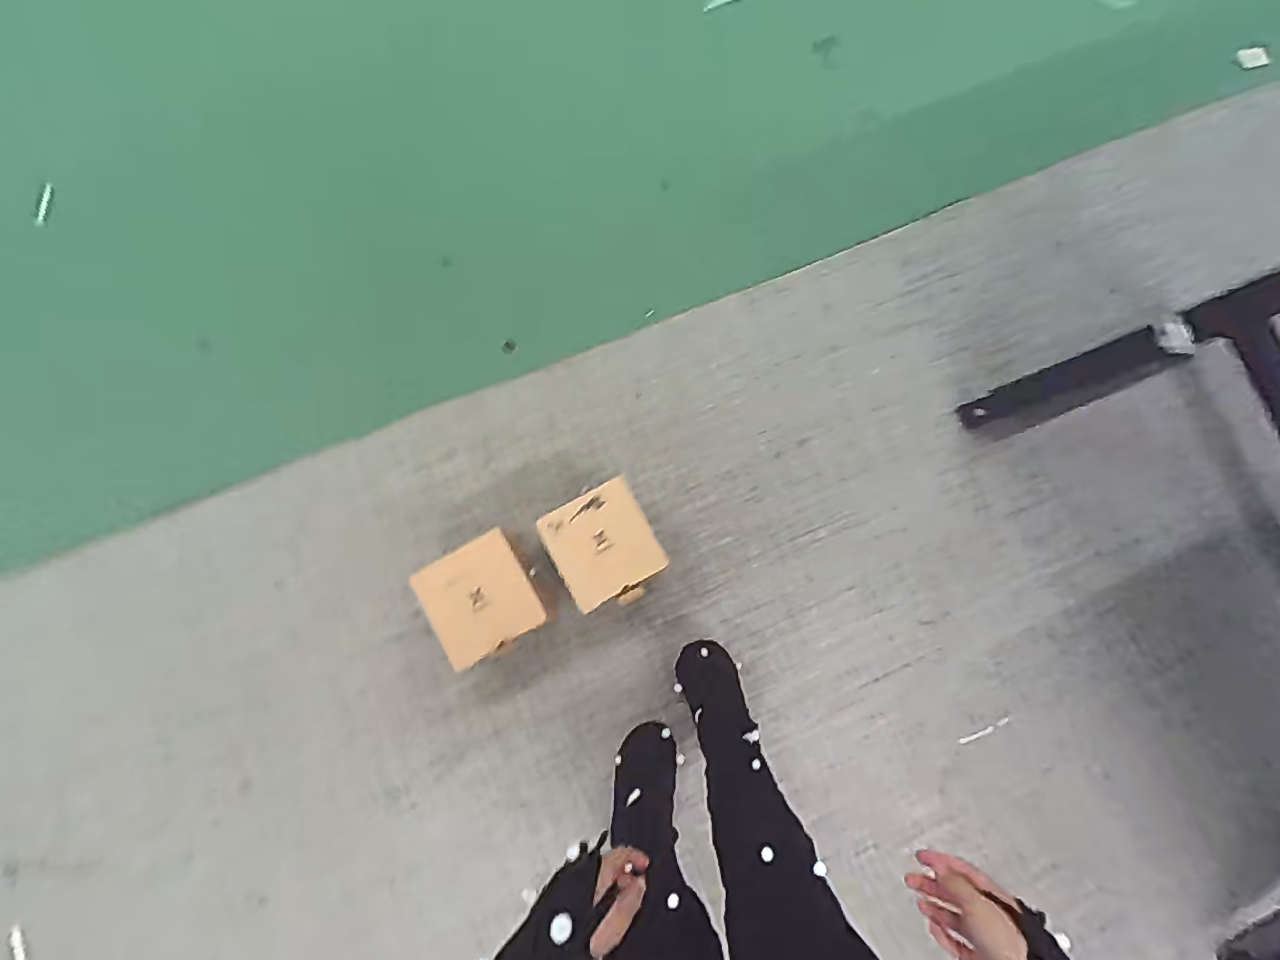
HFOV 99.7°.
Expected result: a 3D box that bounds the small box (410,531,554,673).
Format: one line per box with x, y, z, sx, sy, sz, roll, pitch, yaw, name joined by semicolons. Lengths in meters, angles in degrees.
-0.265;0.207;0.954;0.168;0.176;0.179;-30;83;-8;small box
